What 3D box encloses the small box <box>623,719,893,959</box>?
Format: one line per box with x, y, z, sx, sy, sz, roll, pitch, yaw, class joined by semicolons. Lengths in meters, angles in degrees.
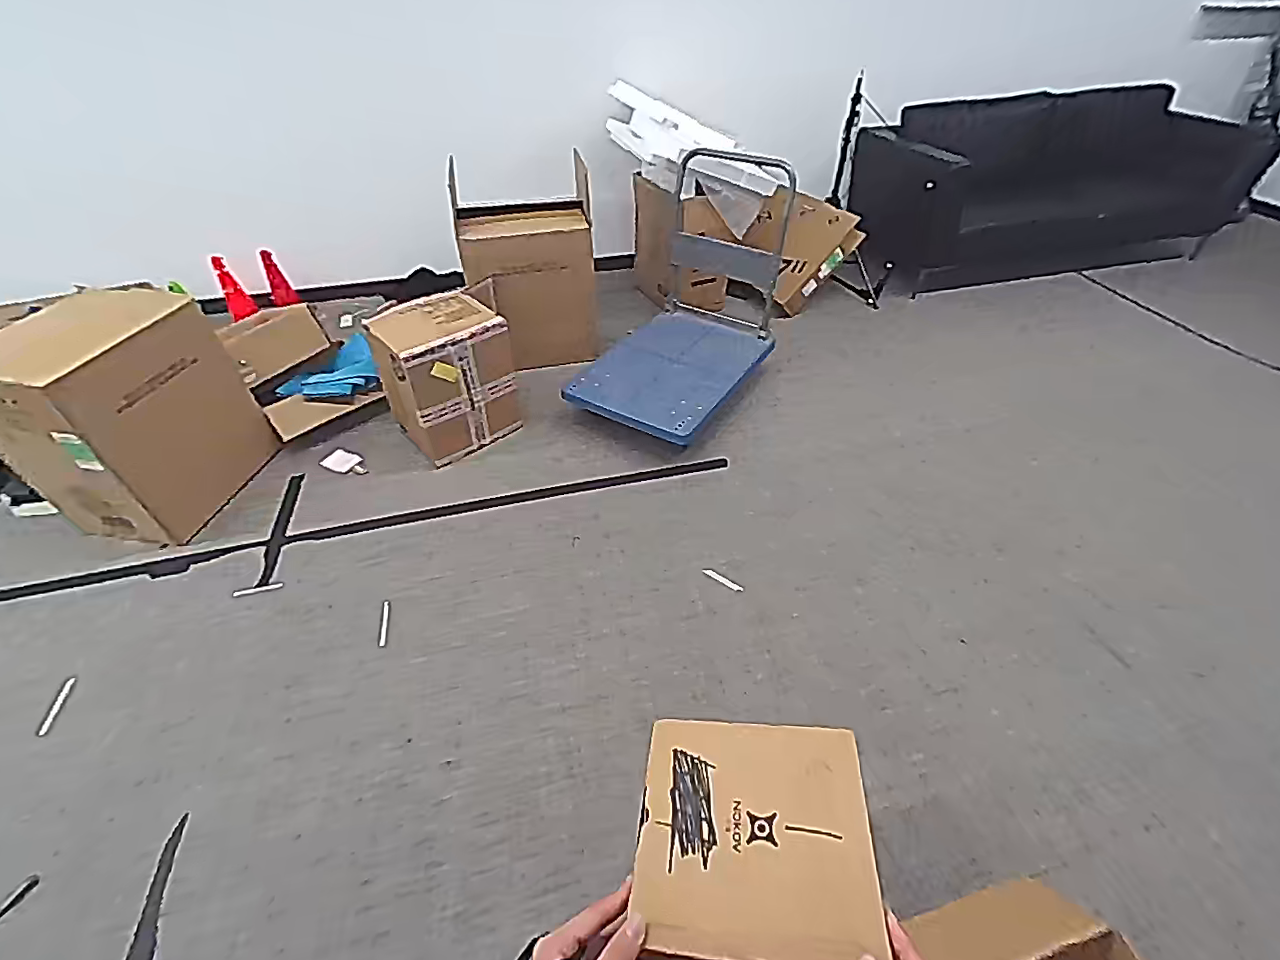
0.099;0.326;0.454;0.179;0.176;0.168;-4;36;13;small box
